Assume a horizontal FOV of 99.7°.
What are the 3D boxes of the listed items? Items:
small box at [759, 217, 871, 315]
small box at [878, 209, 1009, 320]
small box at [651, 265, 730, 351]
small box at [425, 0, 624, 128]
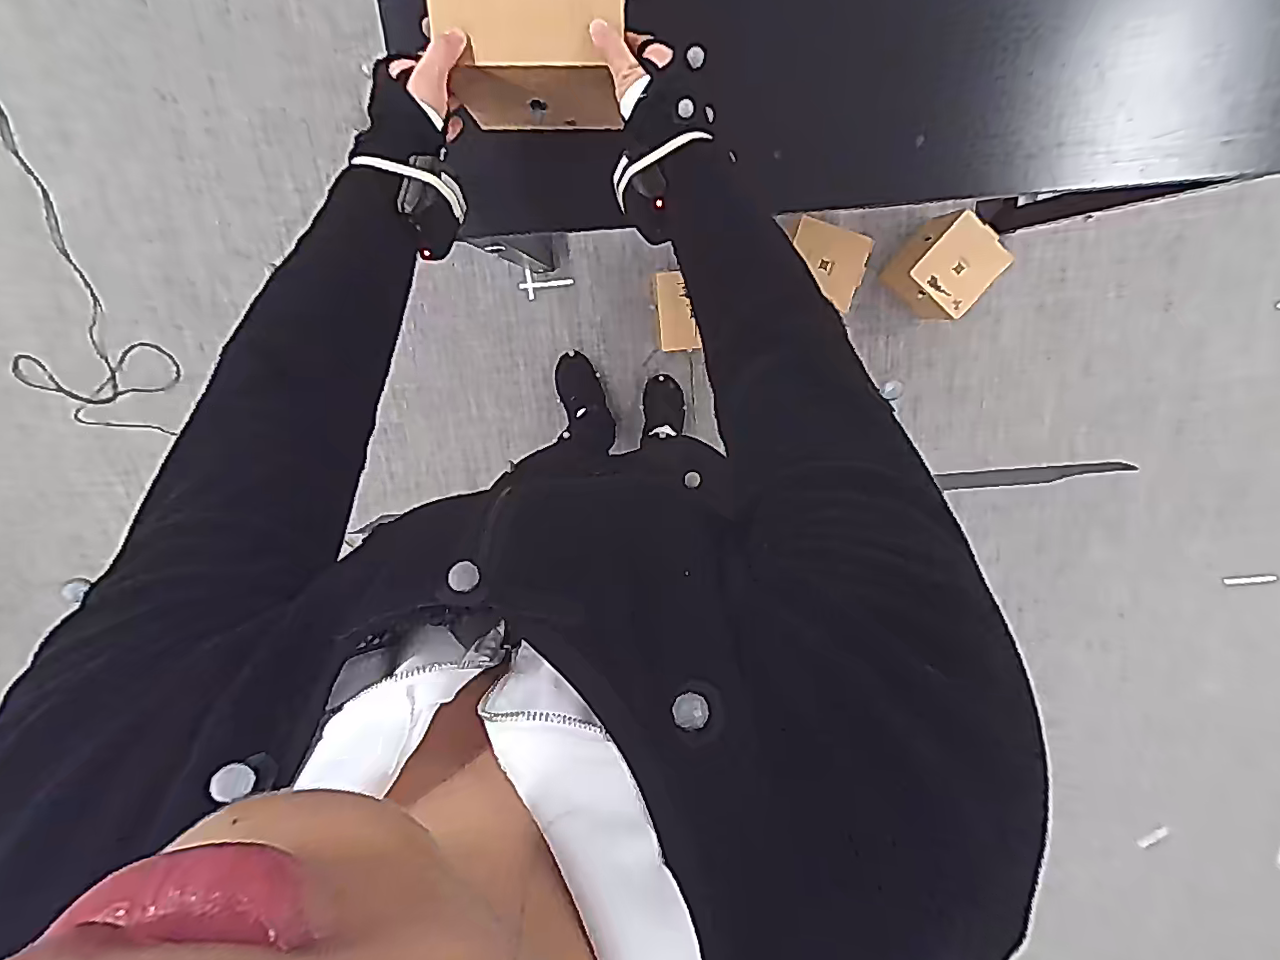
[{"bbox_3d":[0.405,-0.499,1.281,0.179,0.176,0.168,15,105,-5],"label":"small box"},{"bbox_3d":[0.708,-0.502,1.283,0.168,0.176,0.179,37,103,-11],"label":"small box"},{"bbox_3d":[0.118,-0.411,1.301,0.168,0.176,0.179,-6,108,1],"label":"small box"},{"bbox_3d":[-0.099,-0.460,0.519,0.168,0.176,0.179,-1,106,-2],"label":"small box"}]
